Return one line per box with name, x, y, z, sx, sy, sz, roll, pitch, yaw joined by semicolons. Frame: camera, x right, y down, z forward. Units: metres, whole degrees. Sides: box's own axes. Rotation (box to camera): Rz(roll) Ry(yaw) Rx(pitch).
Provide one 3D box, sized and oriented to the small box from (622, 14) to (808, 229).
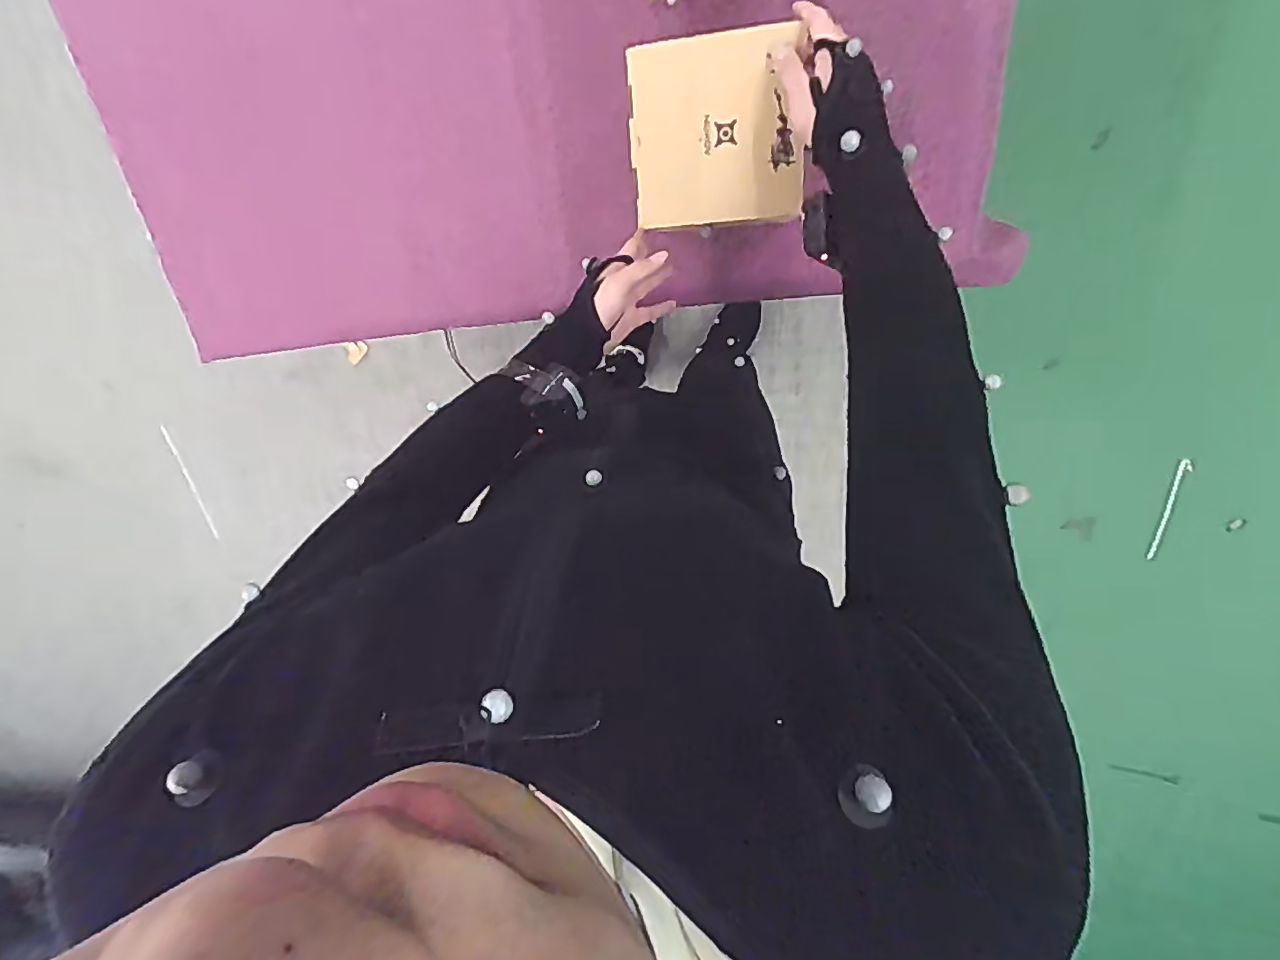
small box;0.086;-0.378;0.605;0.179;0.176;0.168;1;114;11
